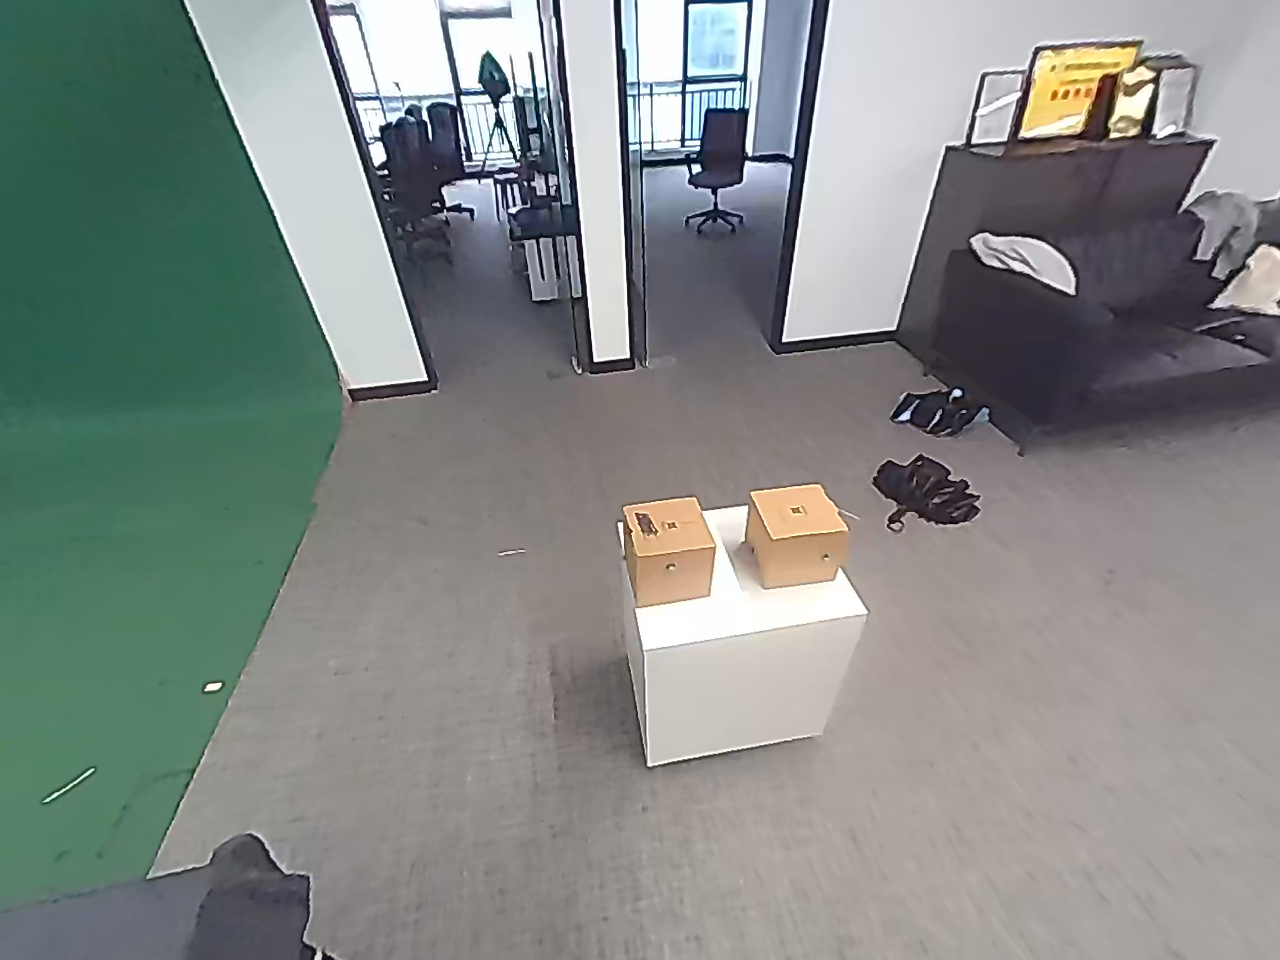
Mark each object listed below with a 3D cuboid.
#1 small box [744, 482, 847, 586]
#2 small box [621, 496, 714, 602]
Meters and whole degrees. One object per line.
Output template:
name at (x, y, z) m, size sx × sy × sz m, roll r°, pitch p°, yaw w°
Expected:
small box at (0.353, 0.127, 1.263) m, size 0.179 × 0.176 × 0.168 m, roll -7°, pitch 39°, yaw -4°
small box at (0.058, 0.160, 1.233) m, size 0.179 × 0.176 × 0.168 m, roll -7°, pitch 39°, yaw -9°
